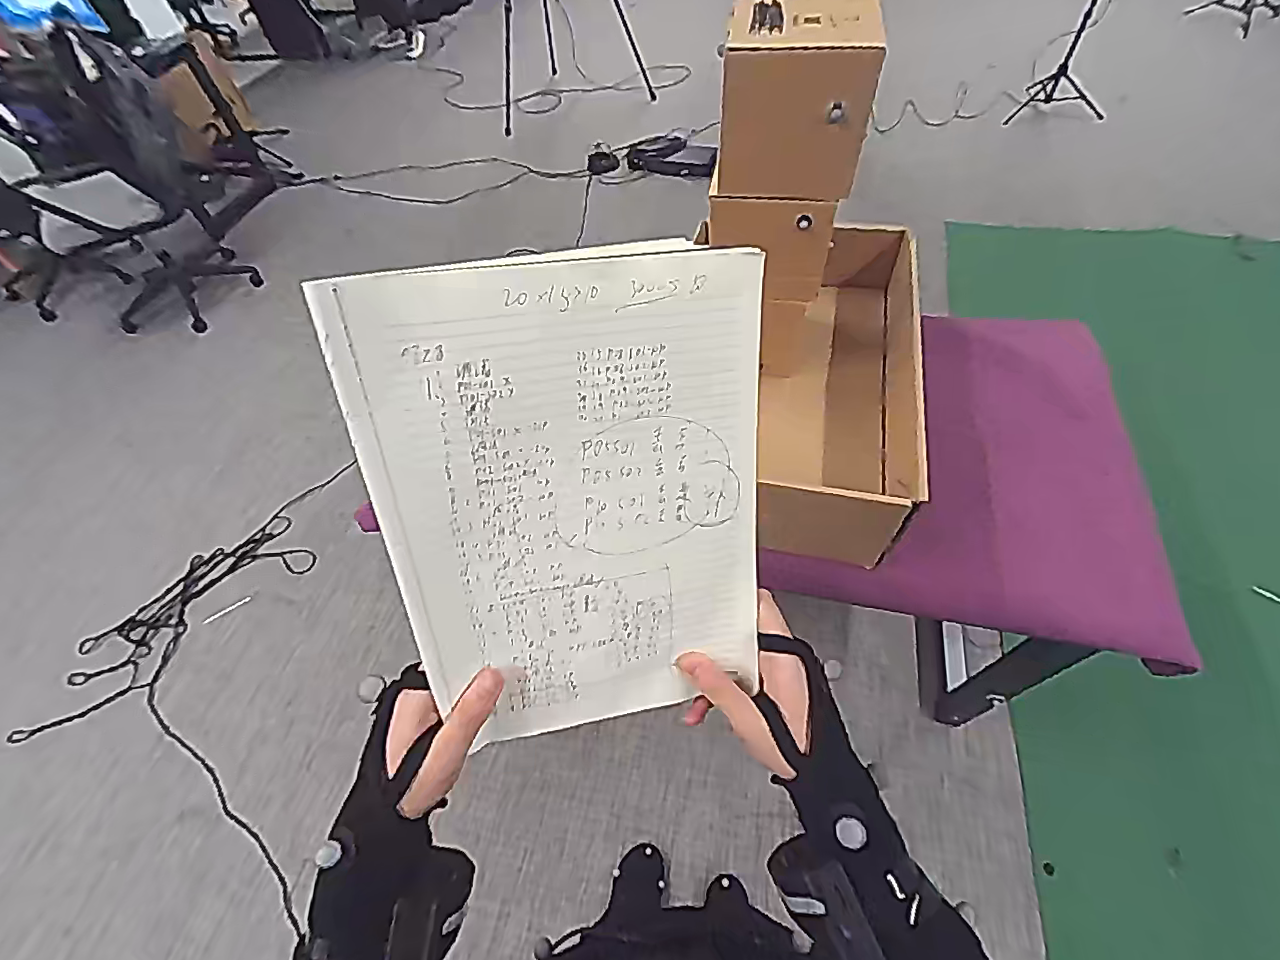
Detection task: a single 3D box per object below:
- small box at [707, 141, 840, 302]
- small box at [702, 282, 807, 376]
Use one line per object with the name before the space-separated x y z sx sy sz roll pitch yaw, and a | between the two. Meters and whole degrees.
small box | 0.201 -0.396 0.837 0.179 0.176 0.168 8 58 11
small box | 0.211 -0.309 0.972 0.168 0.176 0.179 10 58 12
